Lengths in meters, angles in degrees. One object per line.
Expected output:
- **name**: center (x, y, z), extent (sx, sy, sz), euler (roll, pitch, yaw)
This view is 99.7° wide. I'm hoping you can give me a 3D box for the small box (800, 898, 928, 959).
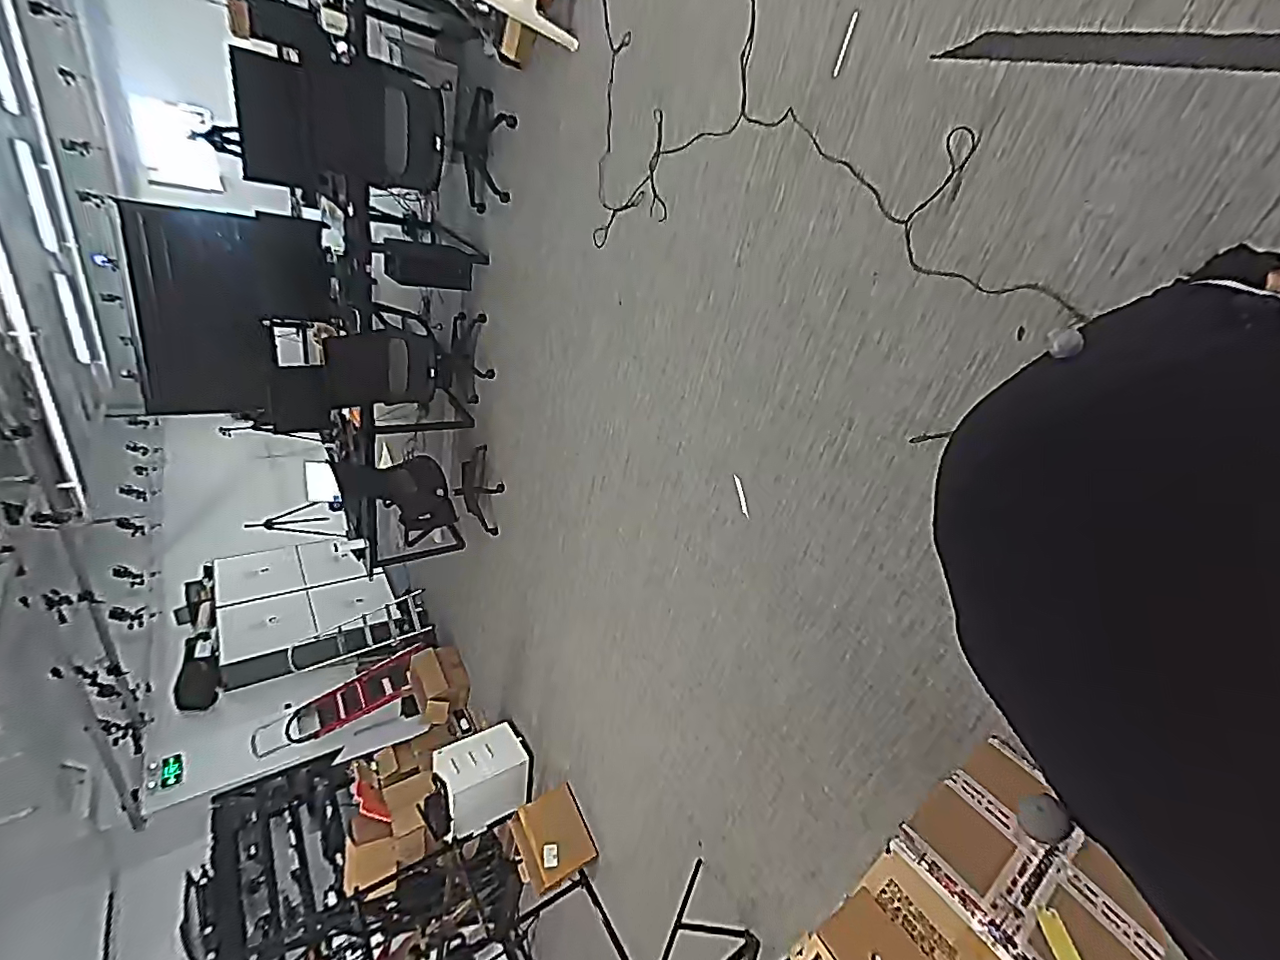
- **small box**: center (0.448, 0.976, 1.067), extent (0.179, 0.176, 0.168), euler (43, 129, 42)
